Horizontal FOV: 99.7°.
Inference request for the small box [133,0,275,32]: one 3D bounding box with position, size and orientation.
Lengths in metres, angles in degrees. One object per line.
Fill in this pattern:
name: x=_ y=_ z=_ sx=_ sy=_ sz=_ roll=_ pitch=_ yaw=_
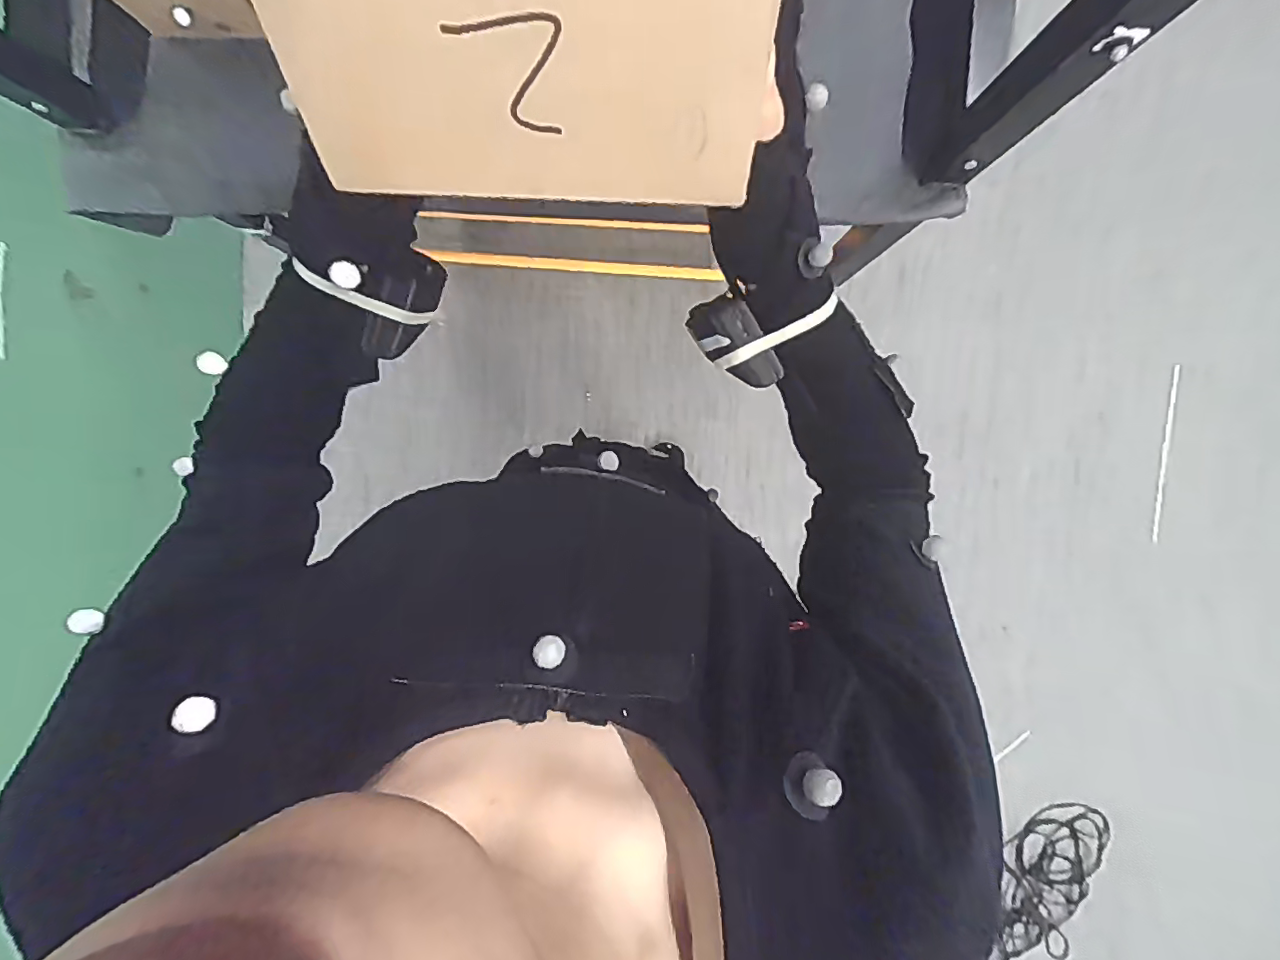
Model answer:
small box: x=-0.553 y=-0.668 z=0.618 sx=0.168 sy=0.176 sz=0.179 roll=1 pitch=95 yaw=0
